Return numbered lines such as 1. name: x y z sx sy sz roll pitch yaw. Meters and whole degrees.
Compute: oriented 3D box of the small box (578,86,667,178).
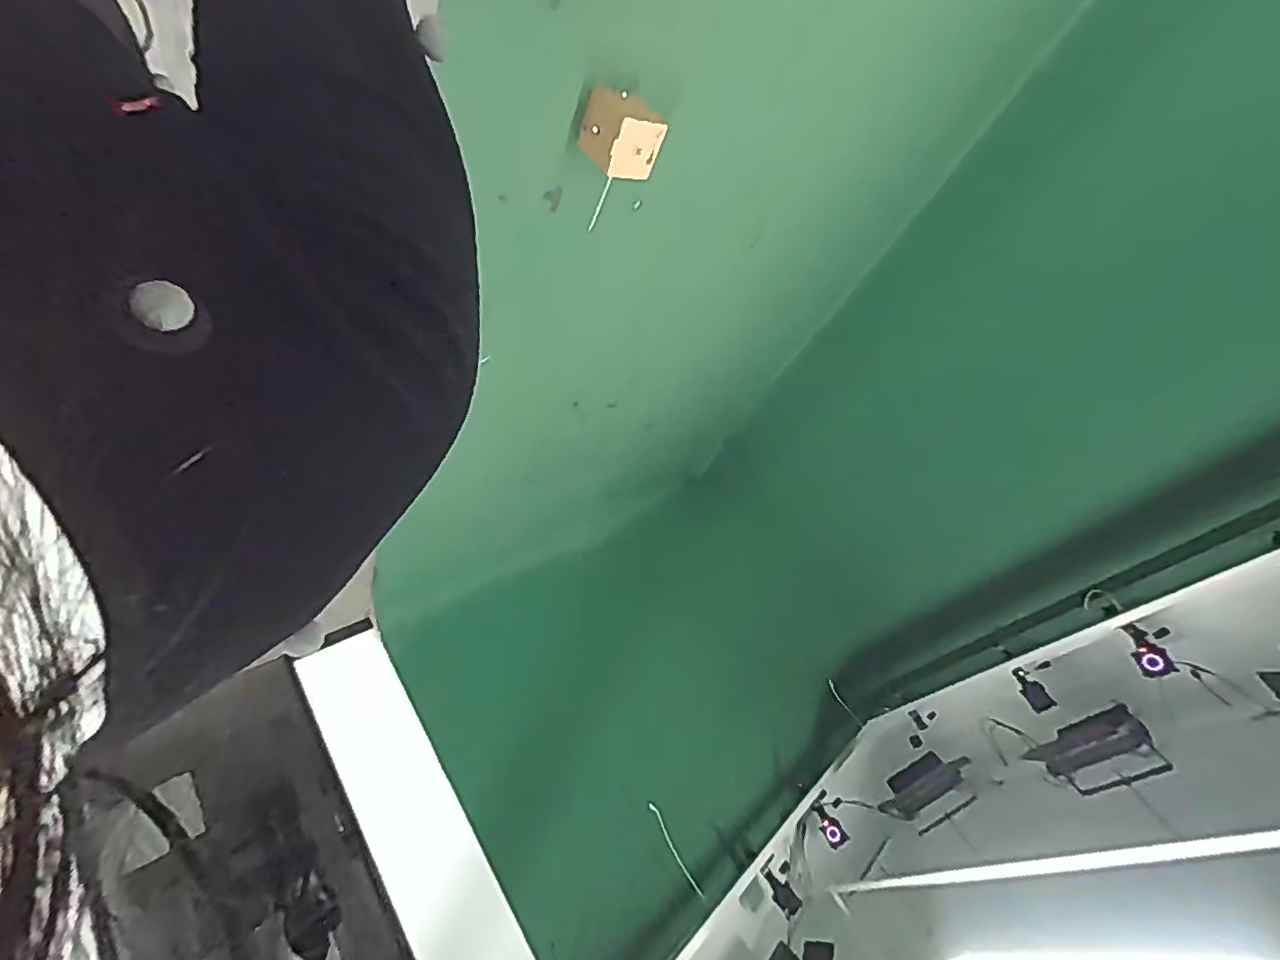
1. small box: -0.059 -1.039 1.617 0.179 0.176 0.168 -19 155 -39
